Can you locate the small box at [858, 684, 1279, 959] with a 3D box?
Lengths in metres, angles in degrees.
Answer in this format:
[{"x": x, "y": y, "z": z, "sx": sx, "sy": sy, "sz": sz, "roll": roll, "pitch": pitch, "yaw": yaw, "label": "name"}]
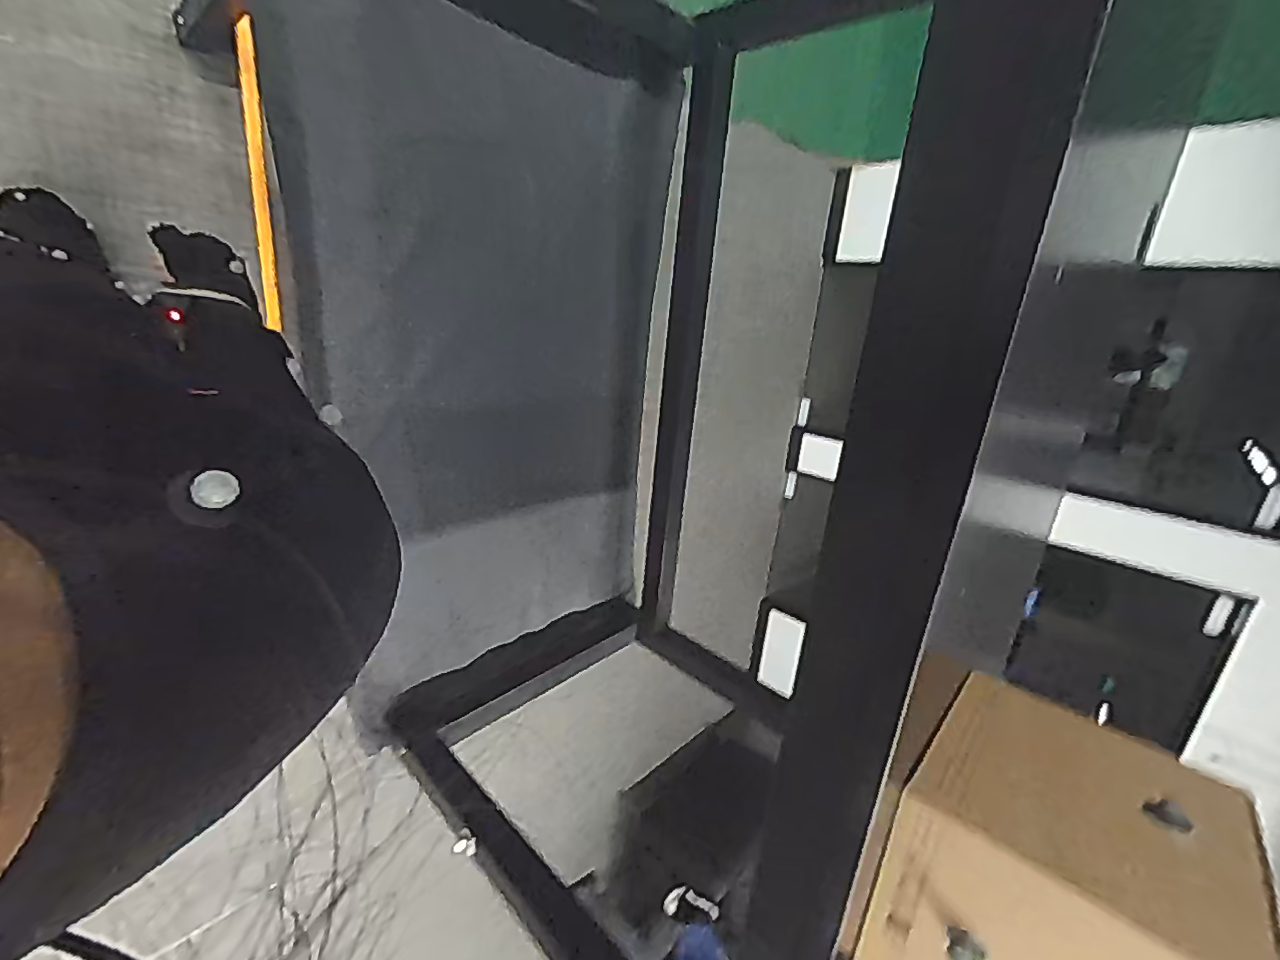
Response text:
[{"x": 0.277, "y": 0.276, "z": 0.371, "sx": 0.179, "sy": 0.176, "sz": 0.168, "roll": -15, "pitch": 117, "yaw": -45, "label": "small box"}]
